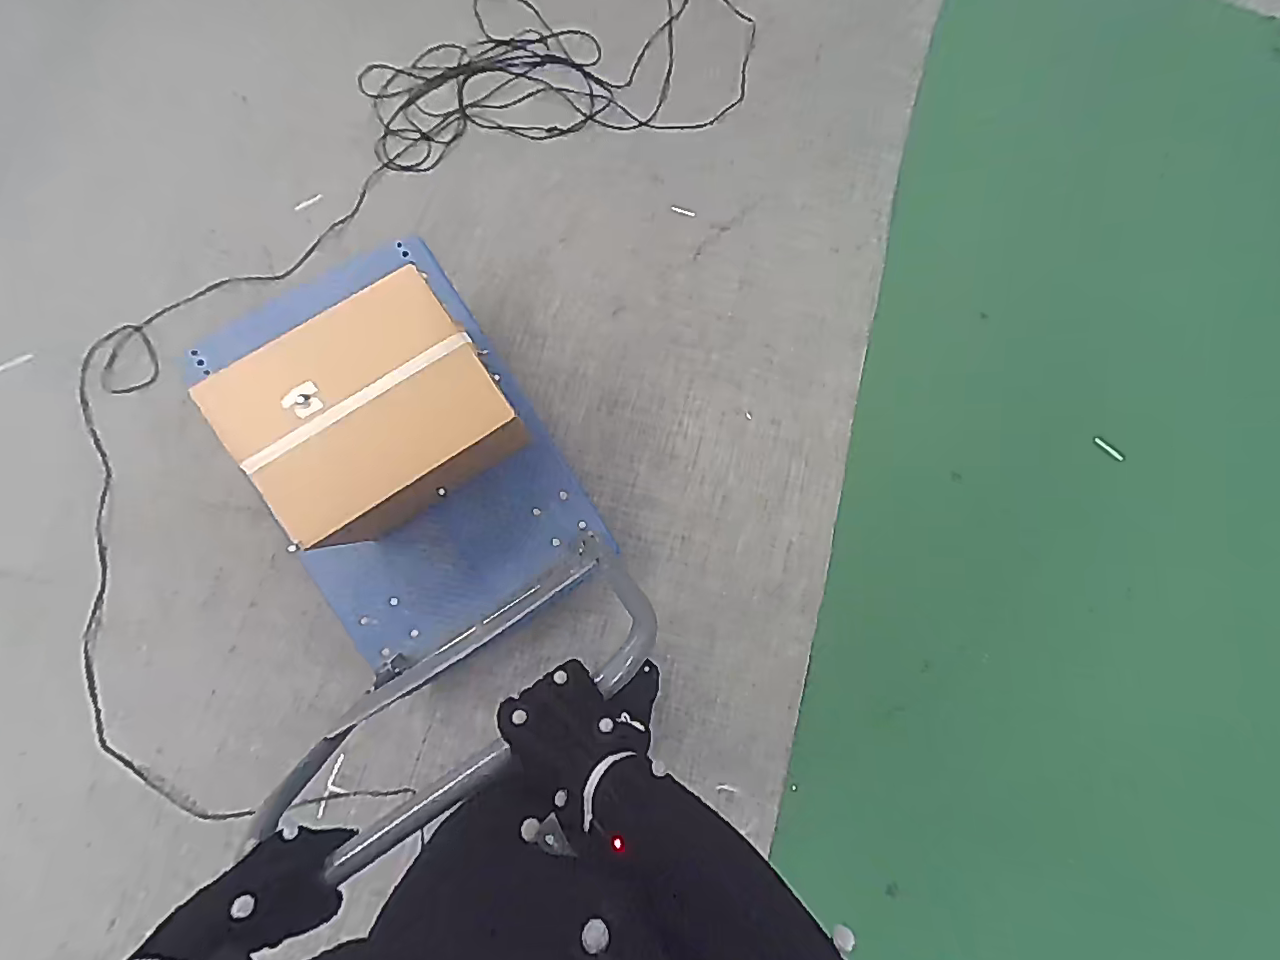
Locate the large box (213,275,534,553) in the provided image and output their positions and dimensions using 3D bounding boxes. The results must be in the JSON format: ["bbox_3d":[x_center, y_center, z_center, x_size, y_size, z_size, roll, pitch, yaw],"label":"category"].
[{"bbox_3d":[-0.467,-0.110,1.052,0.408,0.320,0.320,-35,90,-6],"label":"large box"}]
